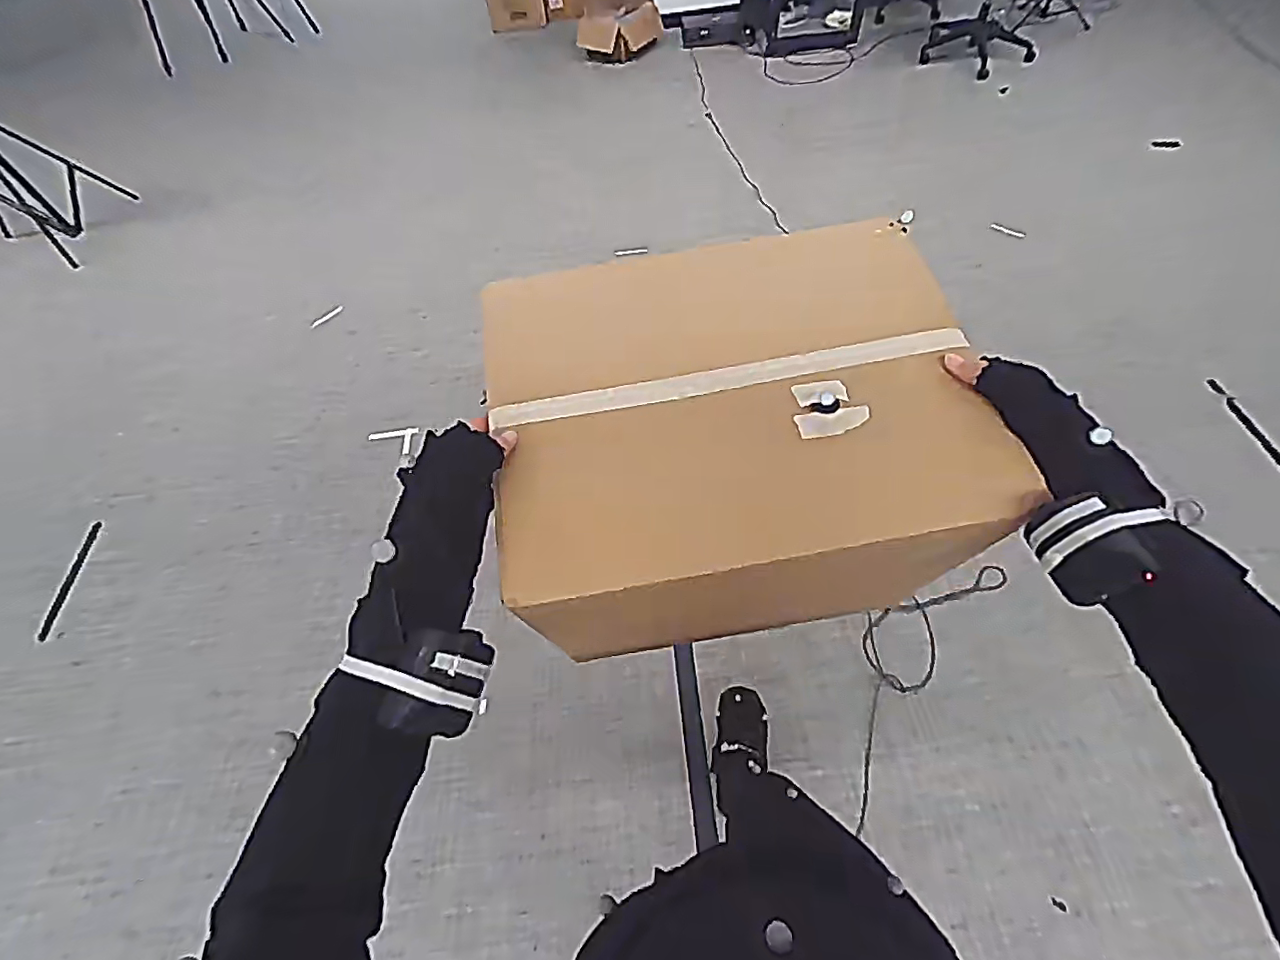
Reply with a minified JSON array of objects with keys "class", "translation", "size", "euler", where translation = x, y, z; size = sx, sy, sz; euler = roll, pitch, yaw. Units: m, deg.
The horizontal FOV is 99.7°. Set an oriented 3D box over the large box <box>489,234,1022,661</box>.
[{"class":"large box","translation":[0.079,-0.013,0.603],"size":[0.408,0.320,0.320],"euler":[-10,64,-2]}]
